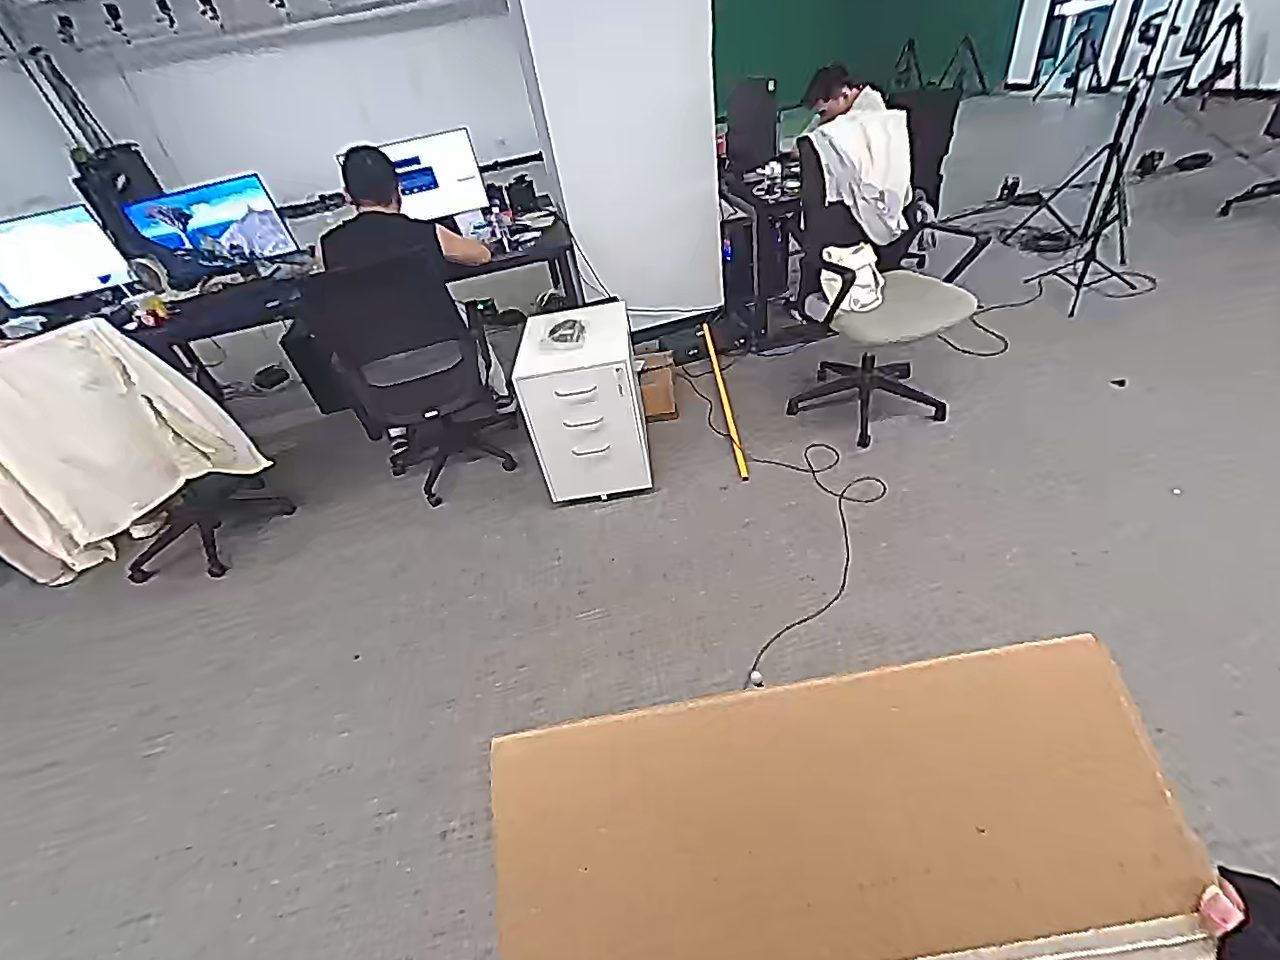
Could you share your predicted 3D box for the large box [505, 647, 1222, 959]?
[{"bbox_3d":[0.143,0.342,0.448,0.408,0.320,0.320,-11,67,2],"label":"large box"}]
